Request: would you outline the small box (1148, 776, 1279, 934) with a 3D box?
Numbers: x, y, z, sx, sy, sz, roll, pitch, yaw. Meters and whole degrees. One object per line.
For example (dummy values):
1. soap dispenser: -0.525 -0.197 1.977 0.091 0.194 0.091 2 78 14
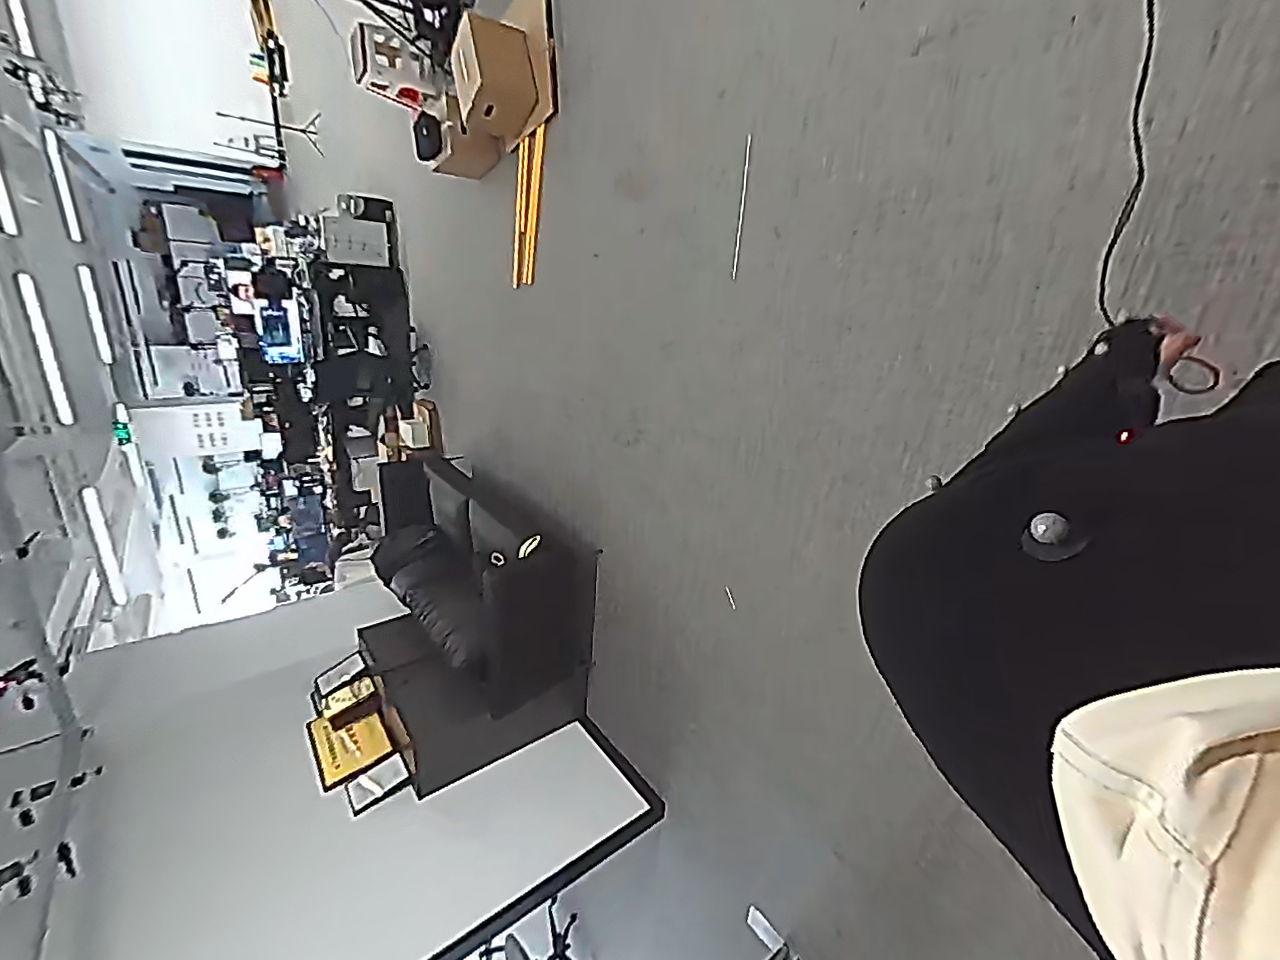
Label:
1. small box: 1.218 0.767 1.121 0.168 0.176 0.179 33 125 44
